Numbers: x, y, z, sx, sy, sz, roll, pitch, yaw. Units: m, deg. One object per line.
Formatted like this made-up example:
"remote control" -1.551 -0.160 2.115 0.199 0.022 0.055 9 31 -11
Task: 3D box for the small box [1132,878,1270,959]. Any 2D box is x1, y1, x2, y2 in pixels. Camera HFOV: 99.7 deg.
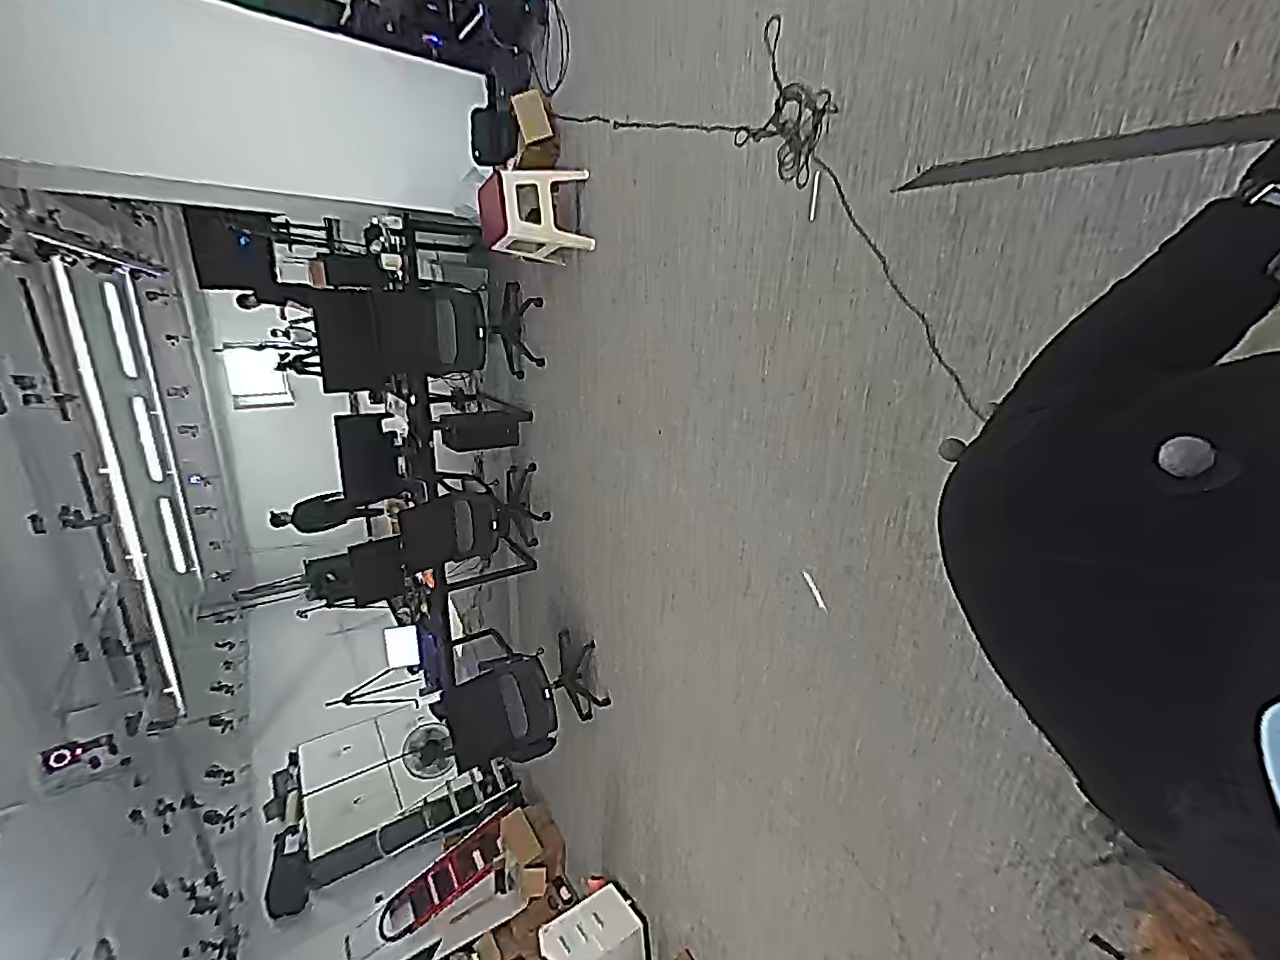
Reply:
"small box" 1.178 1.003 1.142 0.168 0.176 0.179 23 118 52

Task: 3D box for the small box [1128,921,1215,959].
"small box" 1.047 1.025 1.046 0.168 0.176 0.179 31 123 48
